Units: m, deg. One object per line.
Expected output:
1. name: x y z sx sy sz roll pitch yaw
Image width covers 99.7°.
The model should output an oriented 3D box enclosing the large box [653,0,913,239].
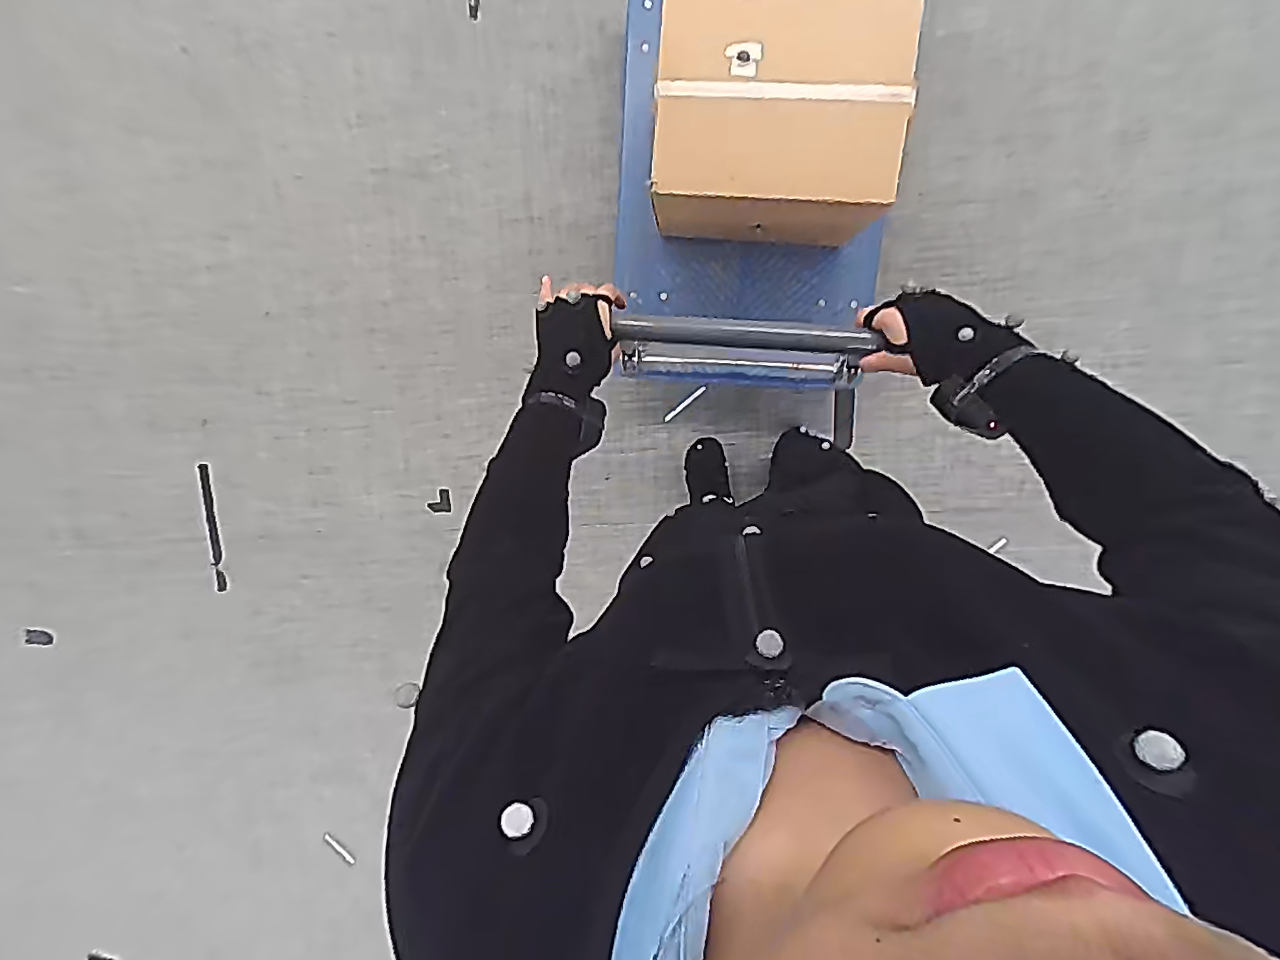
1. large box: 0.244 -0.662 1.036 0.408 0.320 0.320 5 101 6
